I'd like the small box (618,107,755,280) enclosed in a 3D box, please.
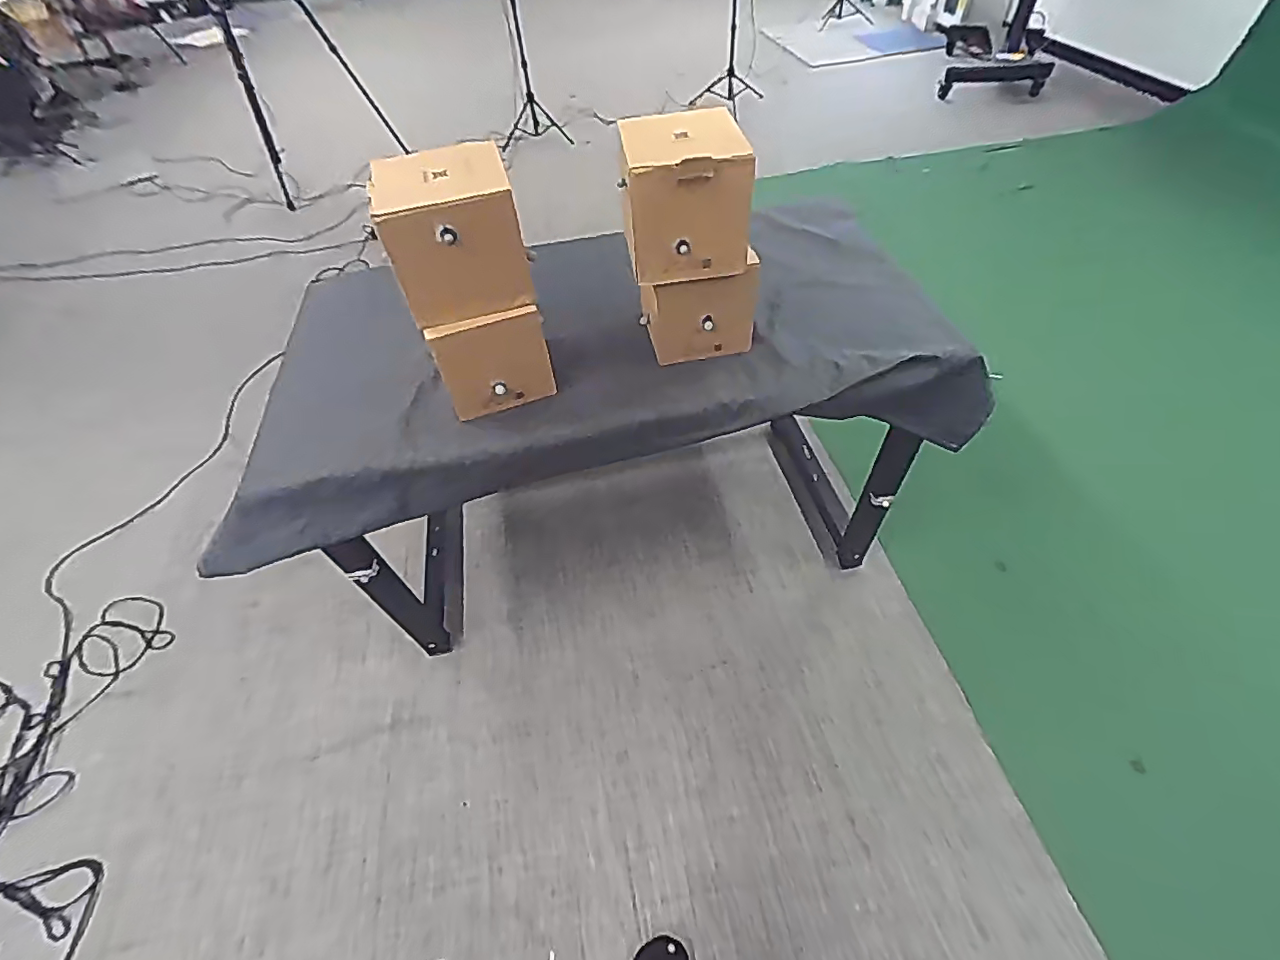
[{"bbox_3d":[0.060,-0.422,0.800,0.168,0.176,0.179,-8,52,-2],"label":"small box"}]

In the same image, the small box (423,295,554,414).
[{"bbox_3d":[-0.251,-0.238,0.886,0.168,0.176,0.179,-19,54,-10],"label":"small box"}]

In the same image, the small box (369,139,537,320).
[{"bbox_3d":[-0.260,-0.351,0.768,0.179,0.176,0.168,-15,54,-9],"label":"small box"}]

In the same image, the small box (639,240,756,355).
[{"bbox_3d":[0.092,-0.335,0.938,0.168,0.176,0.179,-11,52,-4],"label":"small box"}]
